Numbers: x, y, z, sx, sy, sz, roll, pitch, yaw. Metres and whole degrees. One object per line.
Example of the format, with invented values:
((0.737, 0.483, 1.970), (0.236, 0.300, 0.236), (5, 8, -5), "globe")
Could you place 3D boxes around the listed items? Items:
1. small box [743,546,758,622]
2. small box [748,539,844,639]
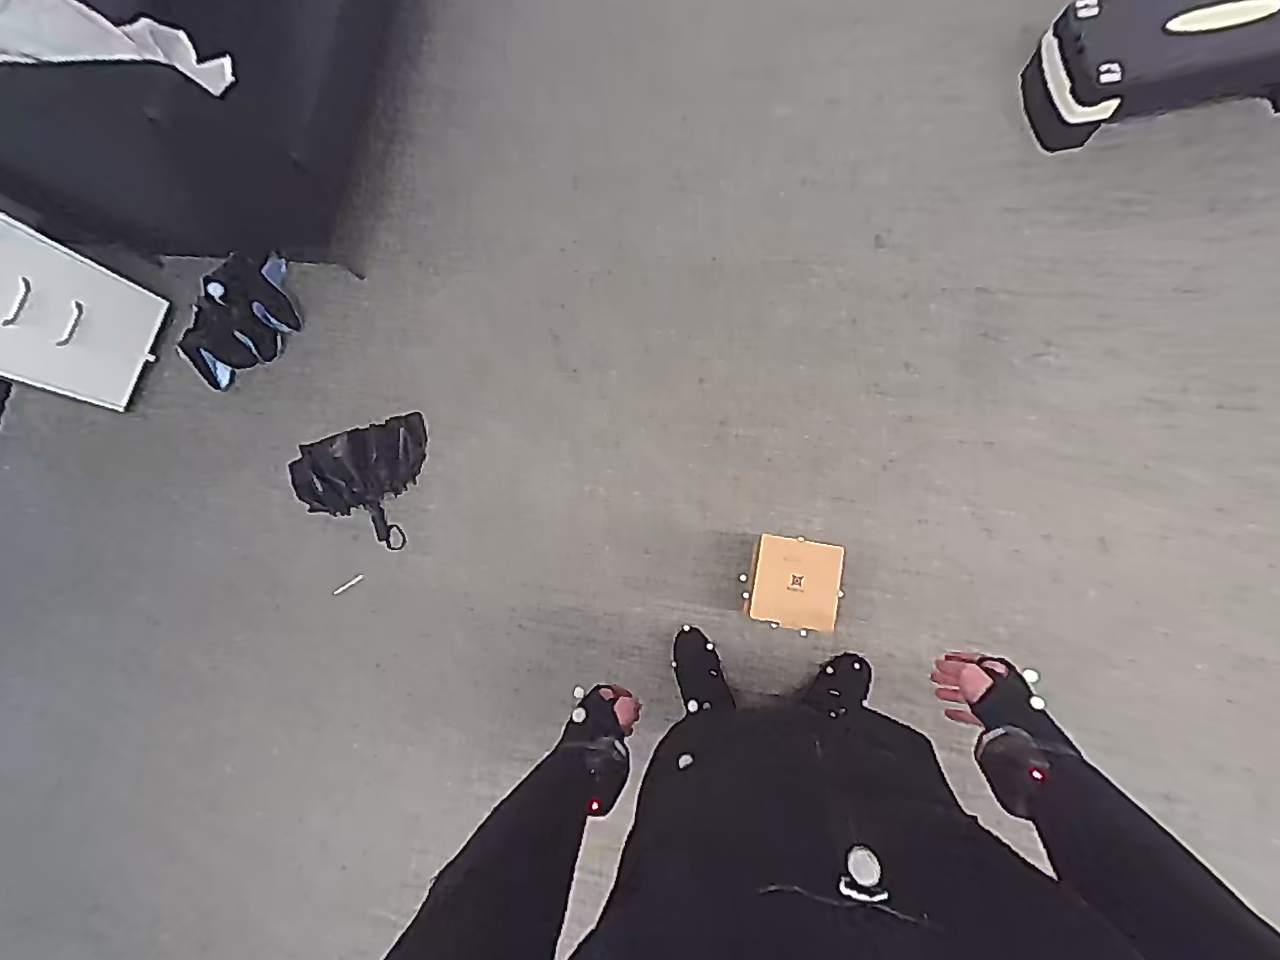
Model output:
((0.348, 0.268, 1.320), (0.168, 0.176, 0.179), (10, 80, 11), "small box")
((0.328, 0.234, 1.162), (0.168, 0.176, 0.179), (8, 78, 10), "small box")
